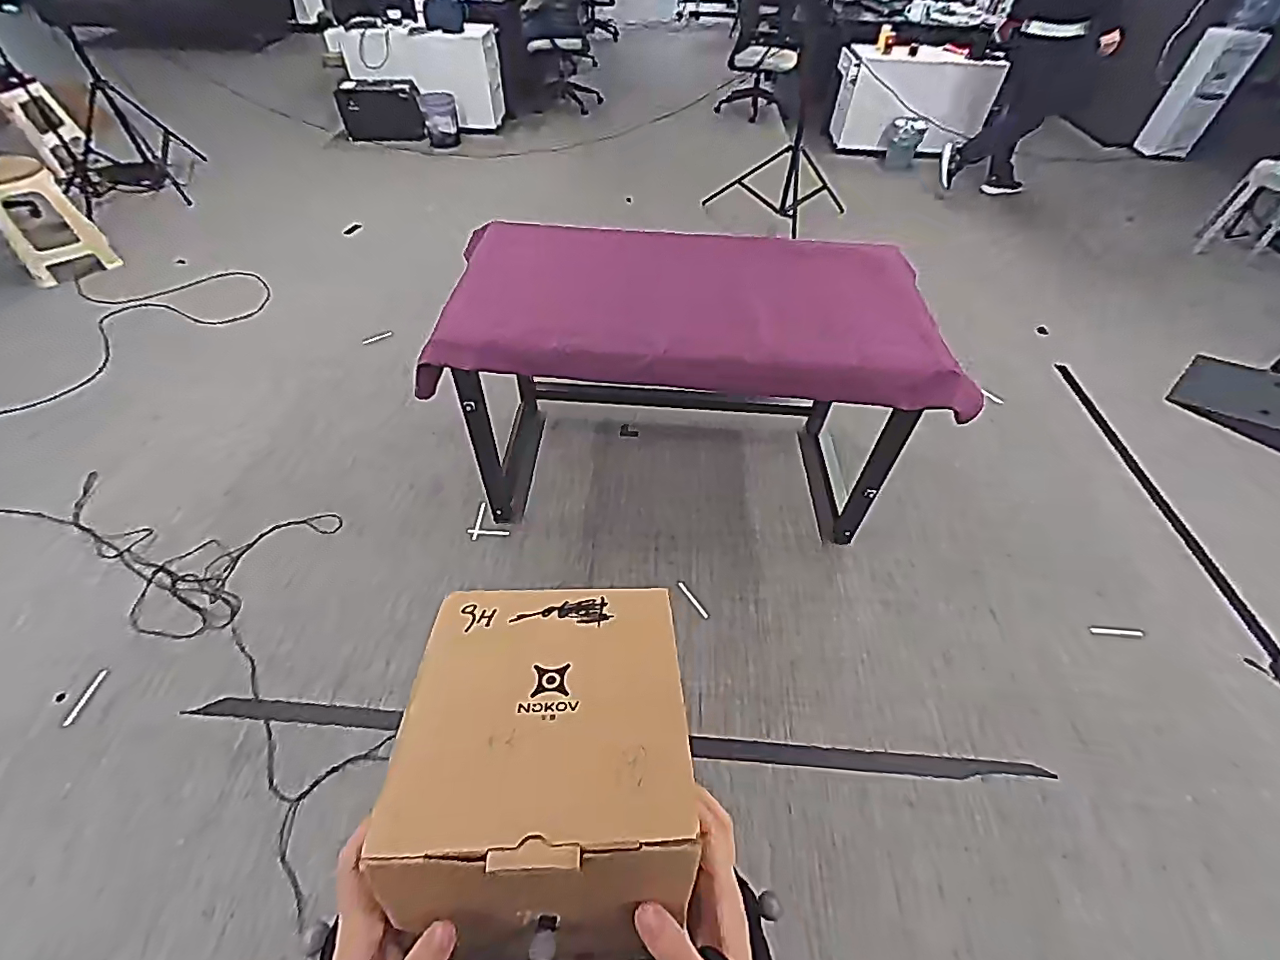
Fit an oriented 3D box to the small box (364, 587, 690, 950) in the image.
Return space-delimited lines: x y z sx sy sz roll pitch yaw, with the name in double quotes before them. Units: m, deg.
"small box" -0.059 0.197 0.379 0.168 0.176 0.179 0 34 -3
